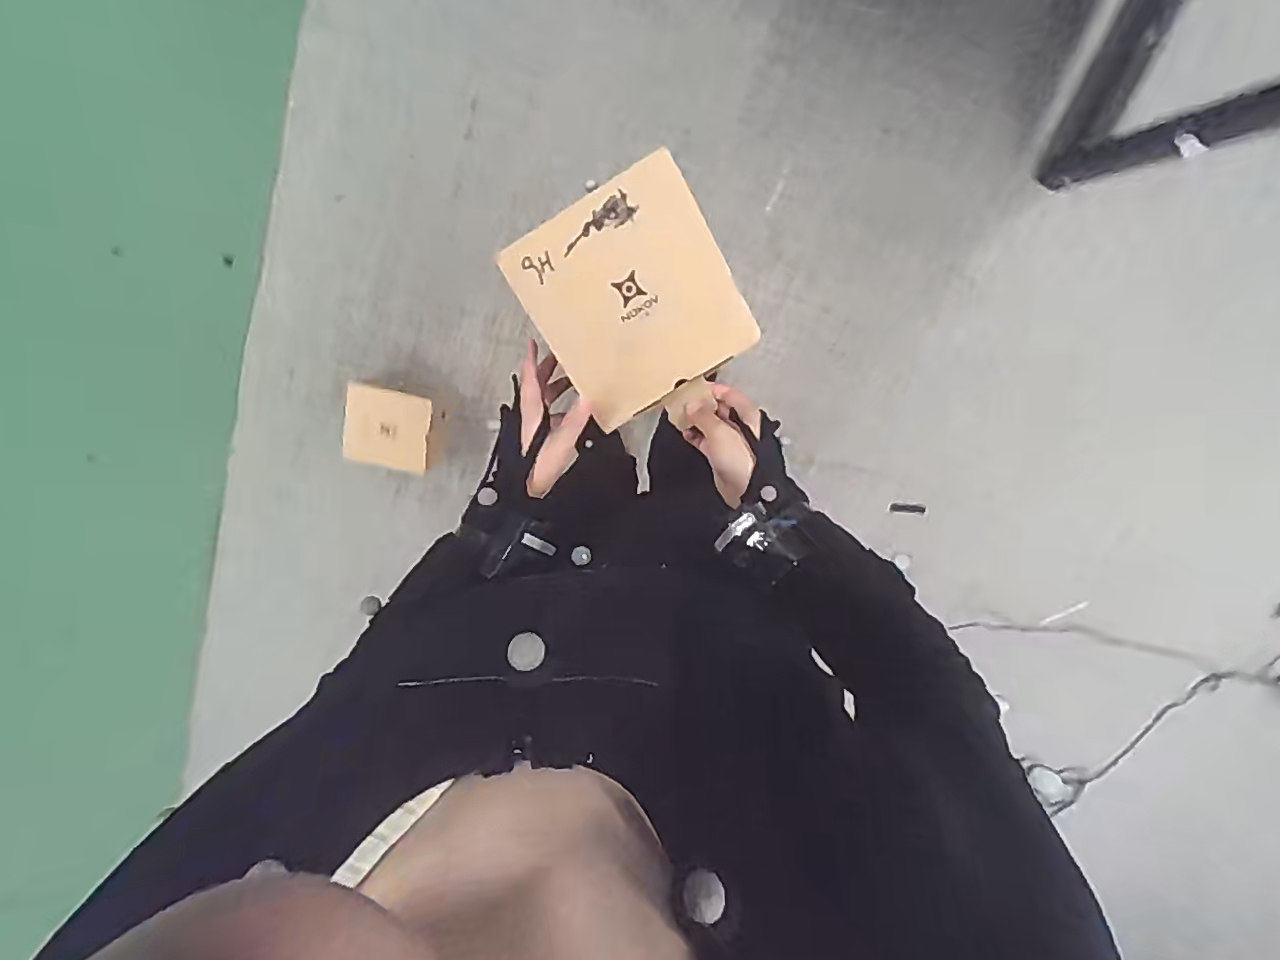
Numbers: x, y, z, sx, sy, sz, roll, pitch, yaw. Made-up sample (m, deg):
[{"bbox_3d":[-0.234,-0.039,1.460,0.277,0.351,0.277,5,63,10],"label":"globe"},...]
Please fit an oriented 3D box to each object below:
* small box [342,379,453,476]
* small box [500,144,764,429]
[{"bbox_3d":[-0.529,-0.123,1.201,0.179,0.176,0.168,11,105,-6],"label":"small box"},{"bbox_3d":[-0.007,-0.178,0.527,0.168,0.176,0.179,-30,107,5],"label":"small box"}]
